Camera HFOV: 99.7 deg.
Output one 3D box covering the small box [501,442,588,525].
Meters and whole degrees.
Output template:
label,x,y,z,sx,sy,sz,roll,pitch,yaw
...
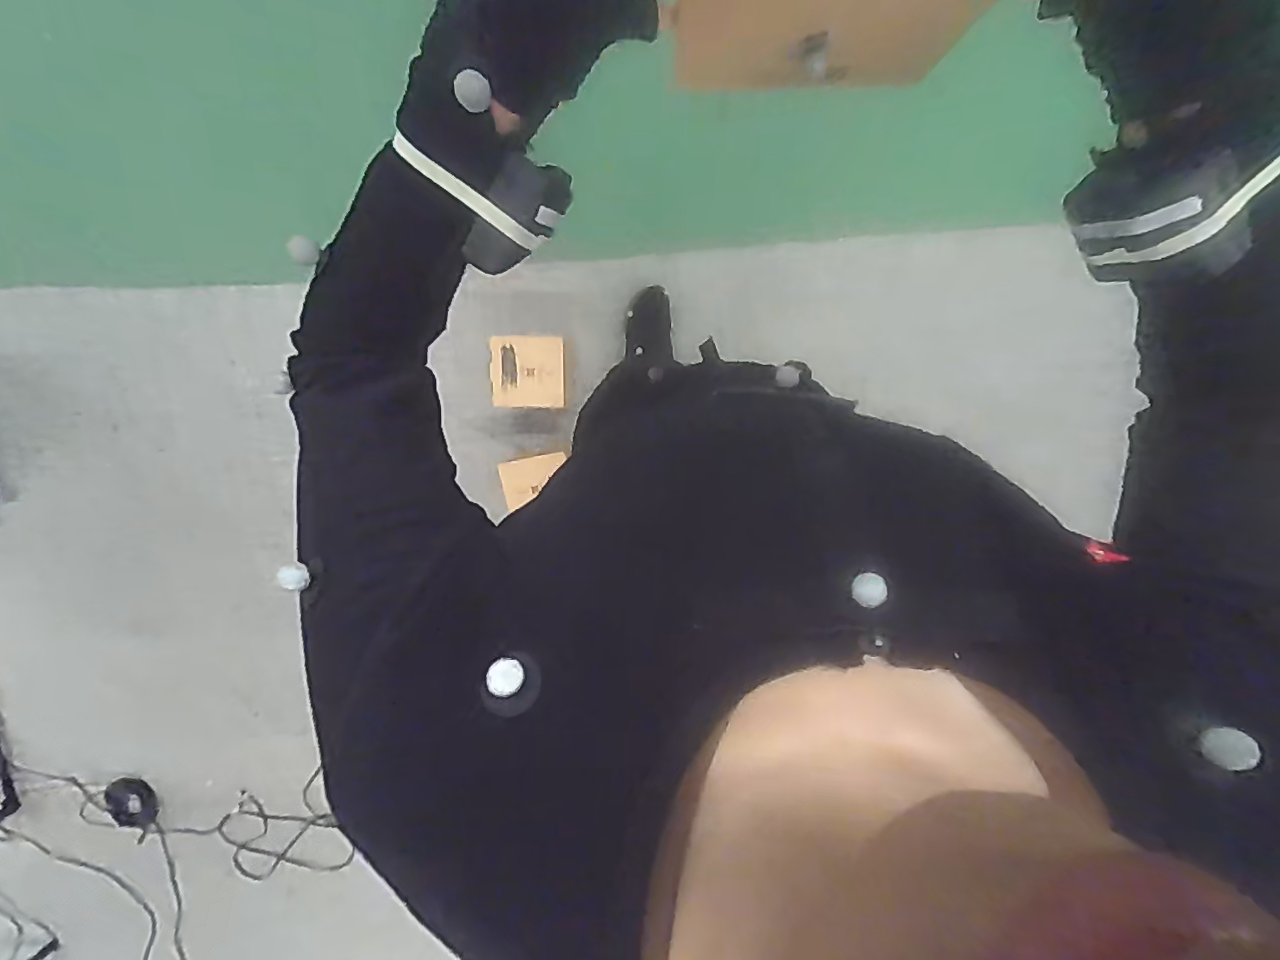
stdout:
label,x,y,z,sx,sy,sz,roll,pitch,yaw
small box,-0.237,0.004,1.404,0.179,0.176,0.168,-11,100,5
